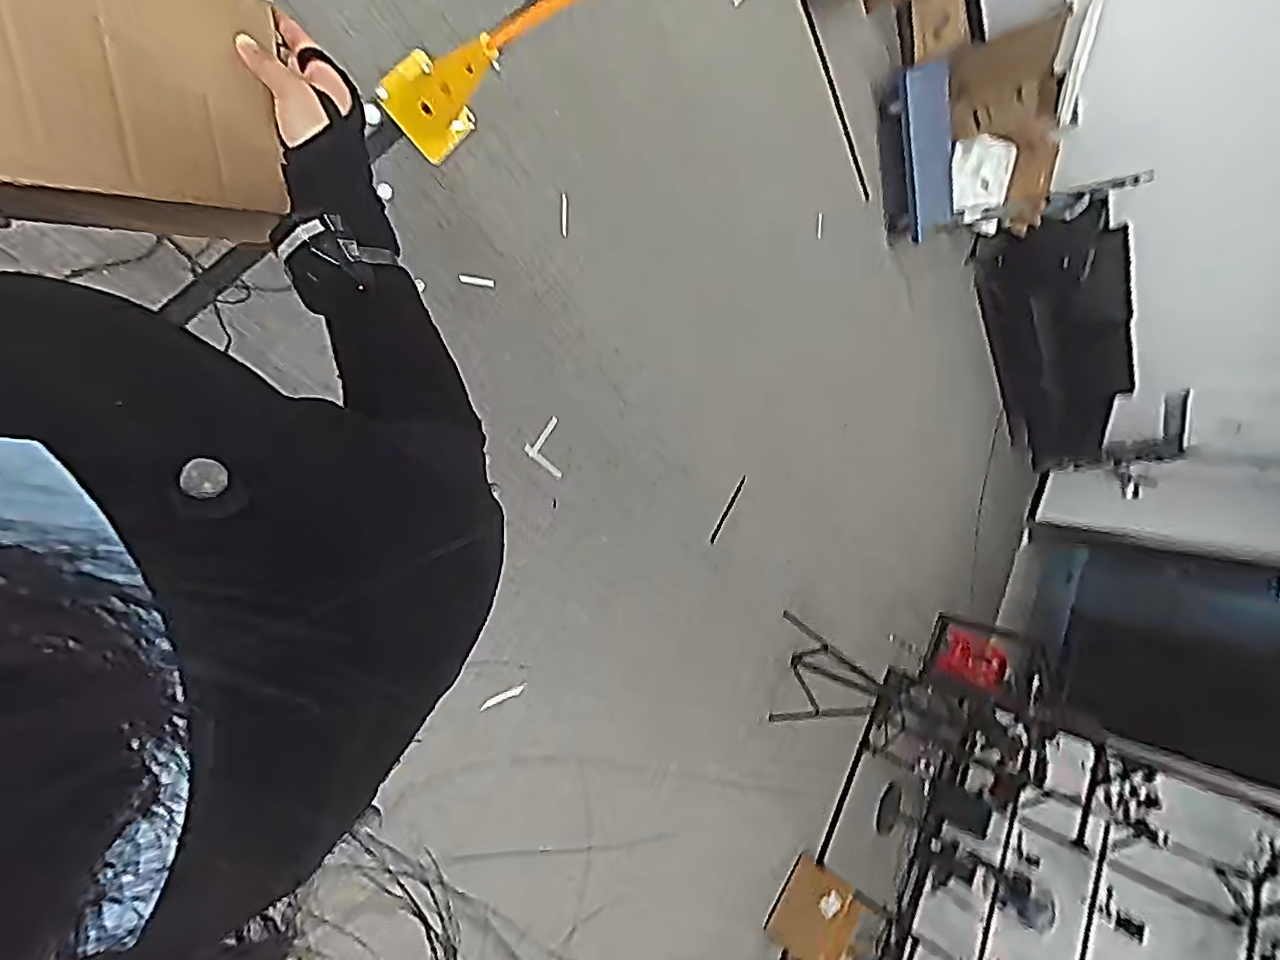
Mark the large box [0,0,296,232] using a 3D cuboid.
[{"bbox_3d":[-0.536,-0.384,0.412,0.408,0.320,0.320,-11,111,-37],"label":"large box"}]
